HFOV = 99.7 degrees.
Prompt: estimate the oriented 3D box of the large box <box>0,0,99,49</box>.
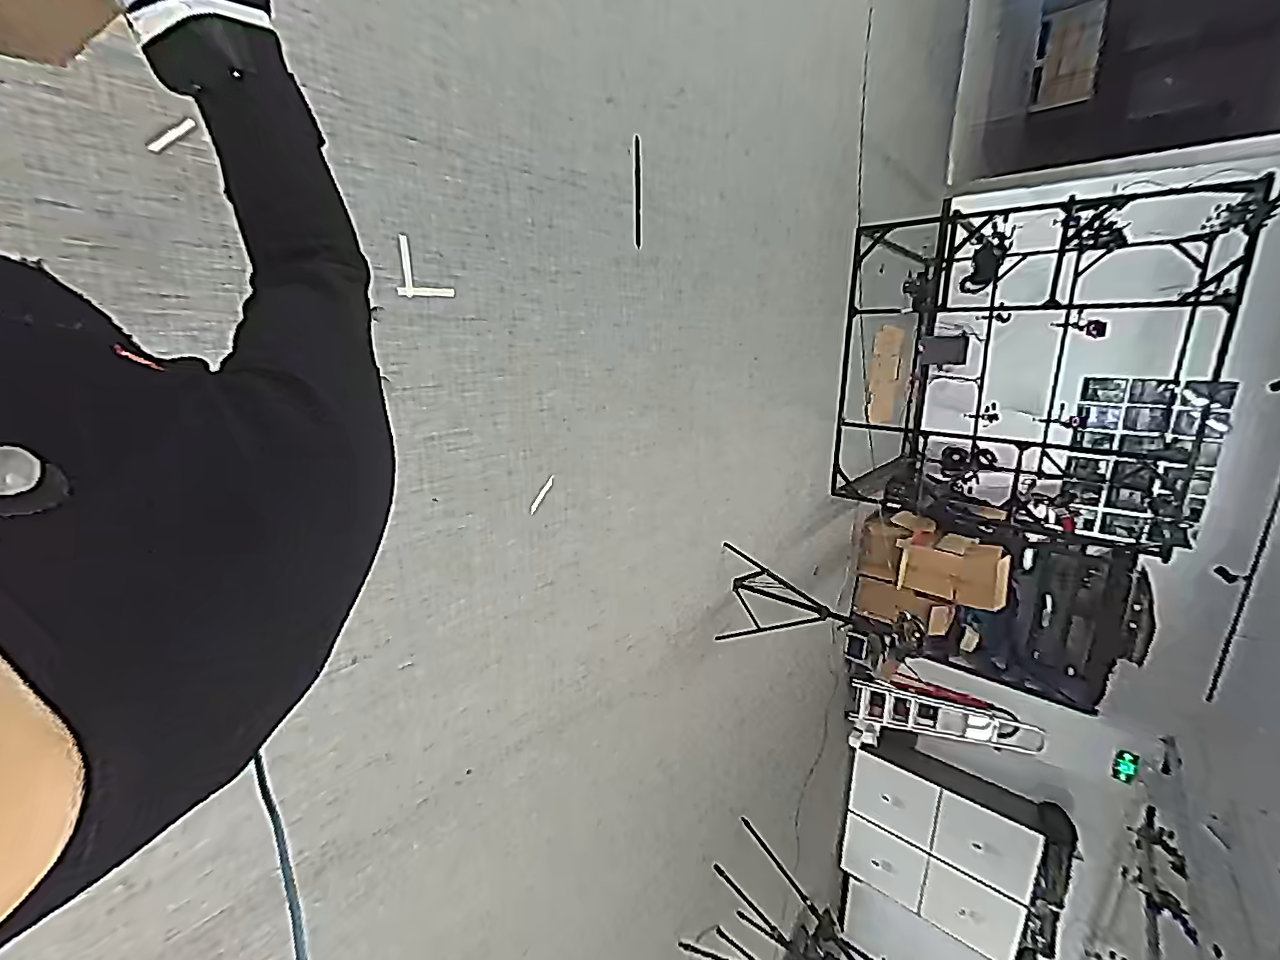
[{"bbox_3d":[-0.570,-0.464,0.243,0.408,0.320,0.320,-22,124,-48],"label":"large box"}]
